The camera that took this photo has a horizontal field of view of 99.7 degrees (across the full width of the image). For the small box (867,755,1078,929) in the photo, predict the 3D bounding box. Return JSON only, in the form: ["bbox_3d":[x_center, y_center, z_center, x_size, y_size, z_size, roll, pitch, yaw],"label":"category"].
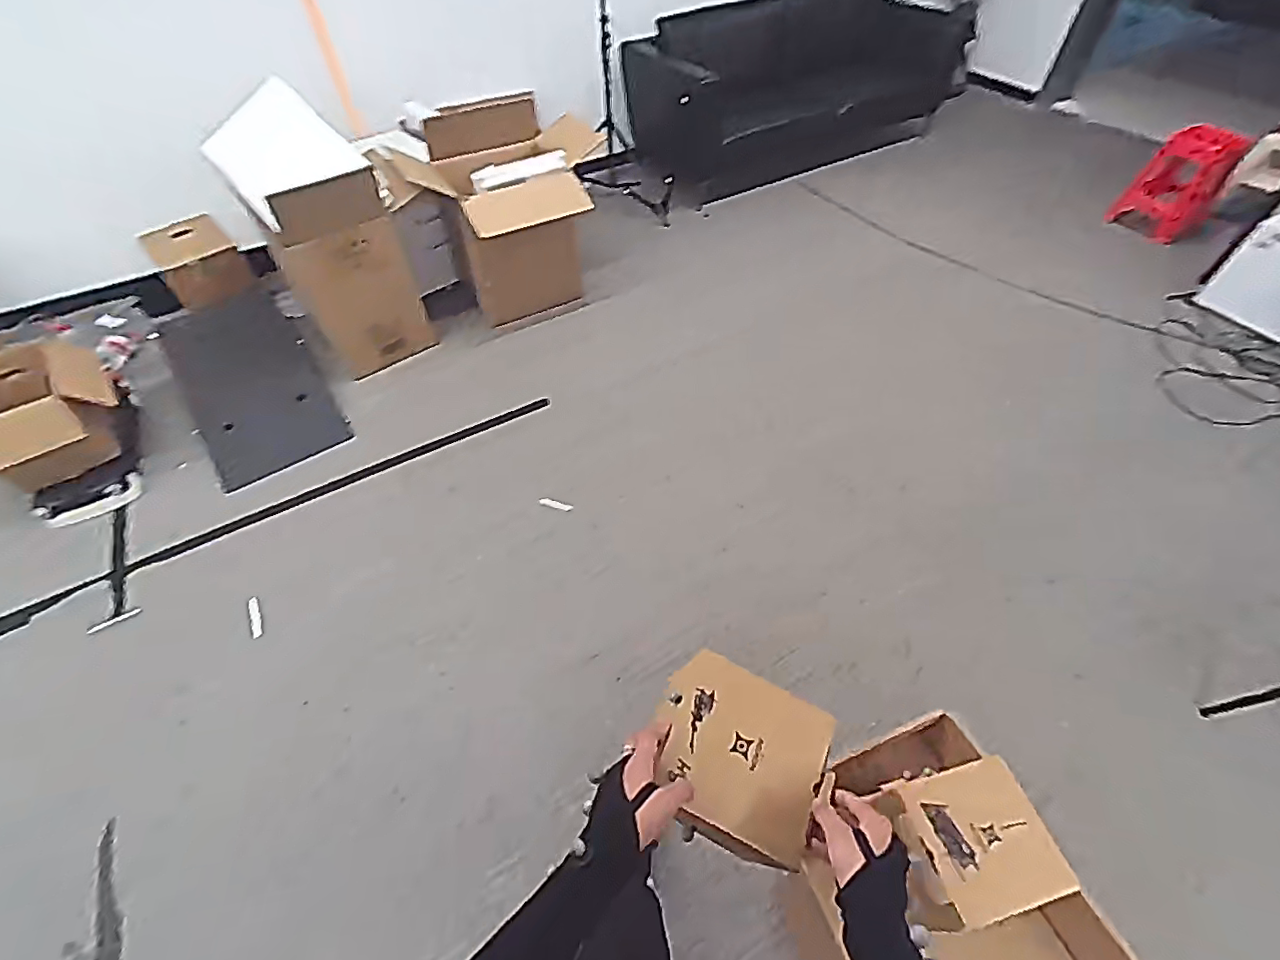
[{"bbox_3d":[0.456,0.525,0.783,0.179,0.176,0.168,-11,52,-9],"label":"small box"}]

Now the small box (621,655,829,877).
[{"bbox_3d":[0.096,0.344,0.663,0.179,0.176,0.168,27,58,5],"label":"small box"}]
